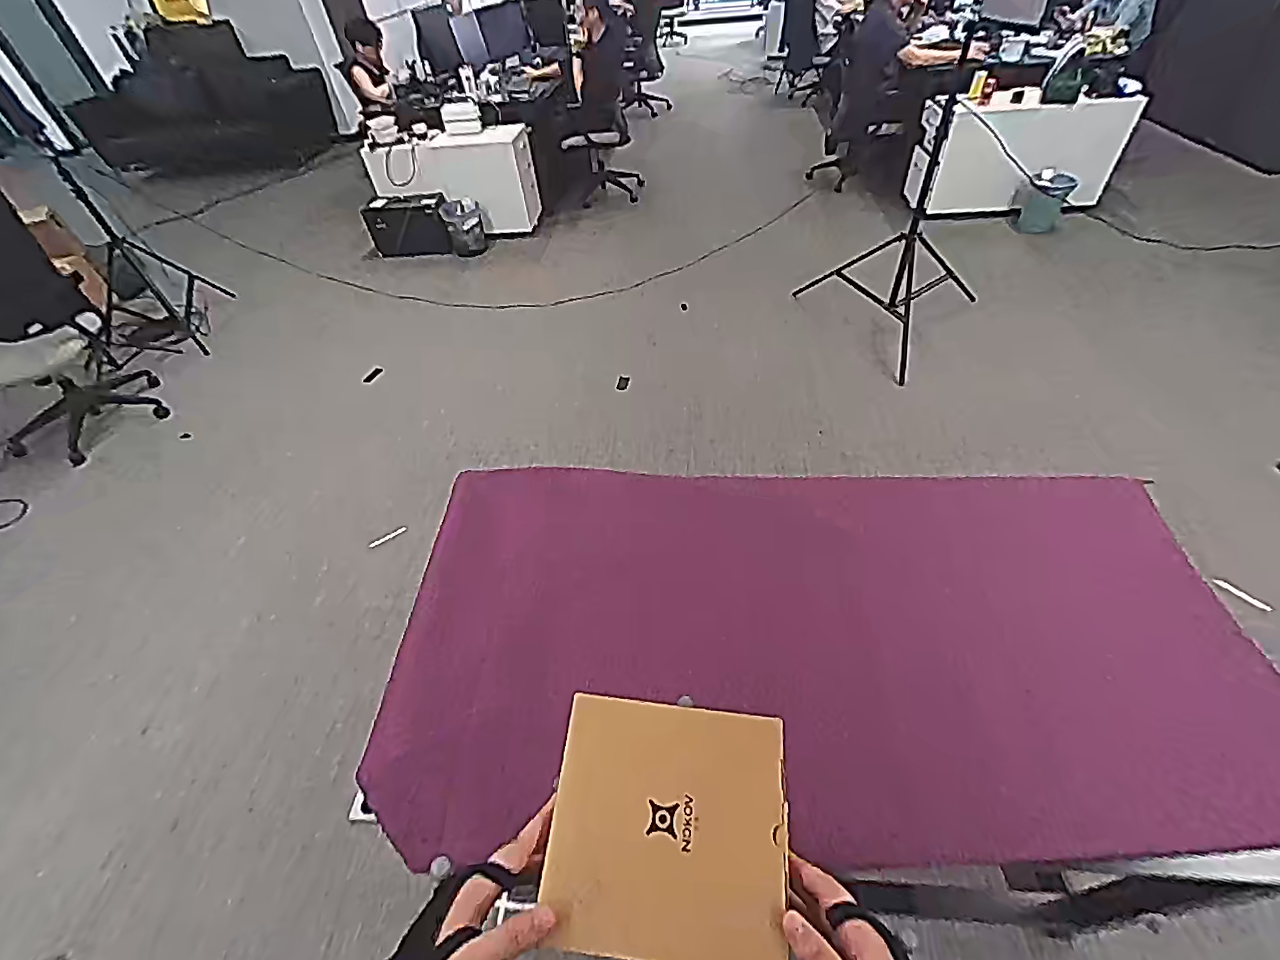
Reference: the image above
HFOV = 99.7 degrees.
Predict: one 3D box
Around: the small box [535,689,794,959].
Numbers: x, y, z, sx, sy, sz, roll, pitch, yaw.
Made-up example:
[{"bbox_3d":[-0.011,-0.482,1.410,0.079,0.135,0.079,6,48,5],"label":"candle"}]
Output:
[{"bbox_3d":[0.023,0.296,0.467,0.179,0.176,0.168,5,54,3],"label":"small box"}]
